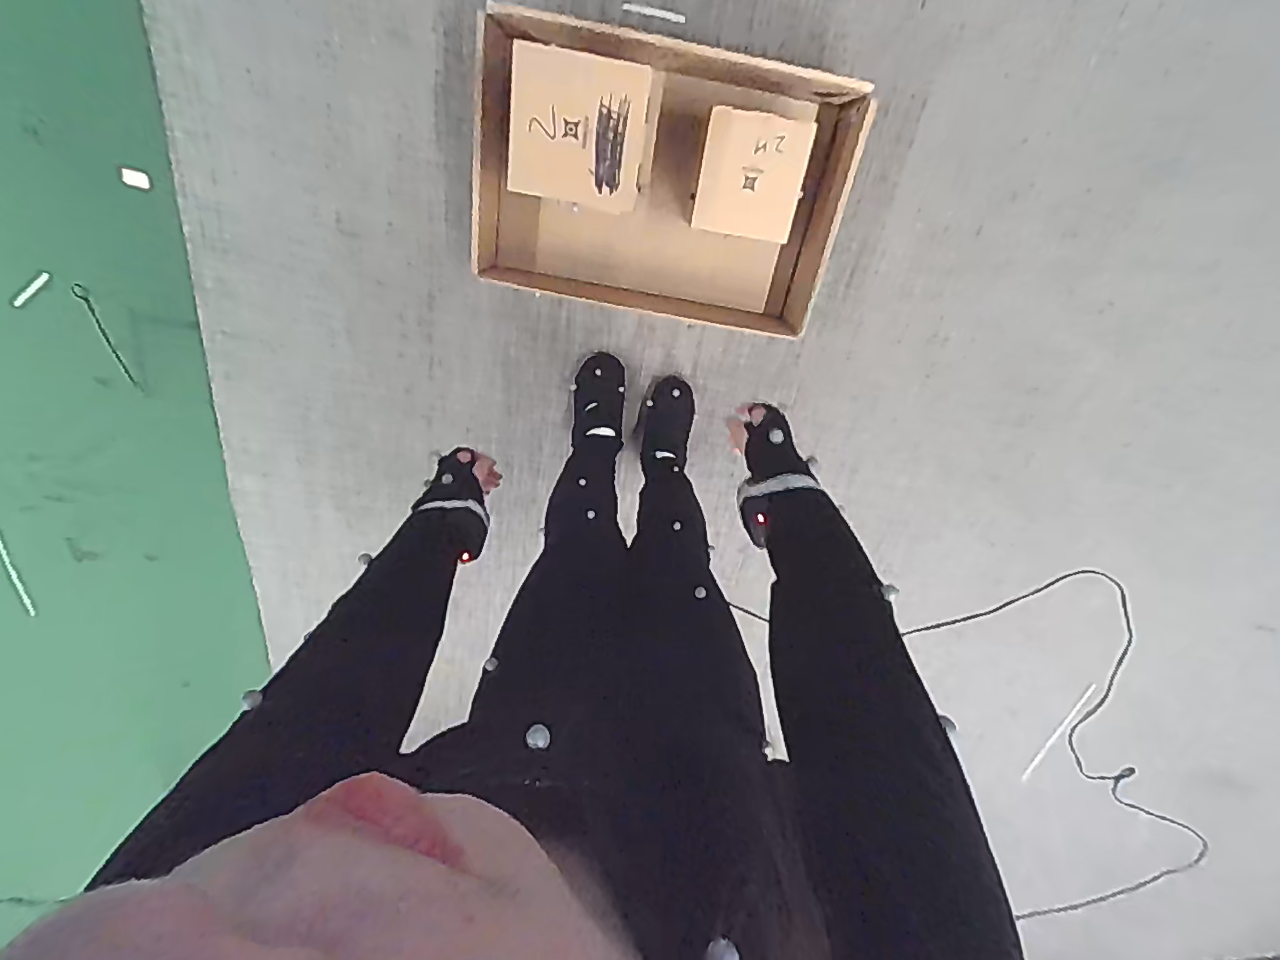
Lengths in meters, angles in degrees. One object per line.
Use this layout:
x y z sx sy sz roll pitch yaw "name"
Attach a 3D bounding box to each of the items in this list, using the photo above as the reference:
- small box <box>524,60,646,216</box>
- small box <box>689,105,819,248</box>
-0.087 -0.563 0.910 0.168 0.176 0.179 12 117 -7 "small box"
0.182 -0.515 0.928 0.168 0.176 0.179 9 118 -4 "small box"
